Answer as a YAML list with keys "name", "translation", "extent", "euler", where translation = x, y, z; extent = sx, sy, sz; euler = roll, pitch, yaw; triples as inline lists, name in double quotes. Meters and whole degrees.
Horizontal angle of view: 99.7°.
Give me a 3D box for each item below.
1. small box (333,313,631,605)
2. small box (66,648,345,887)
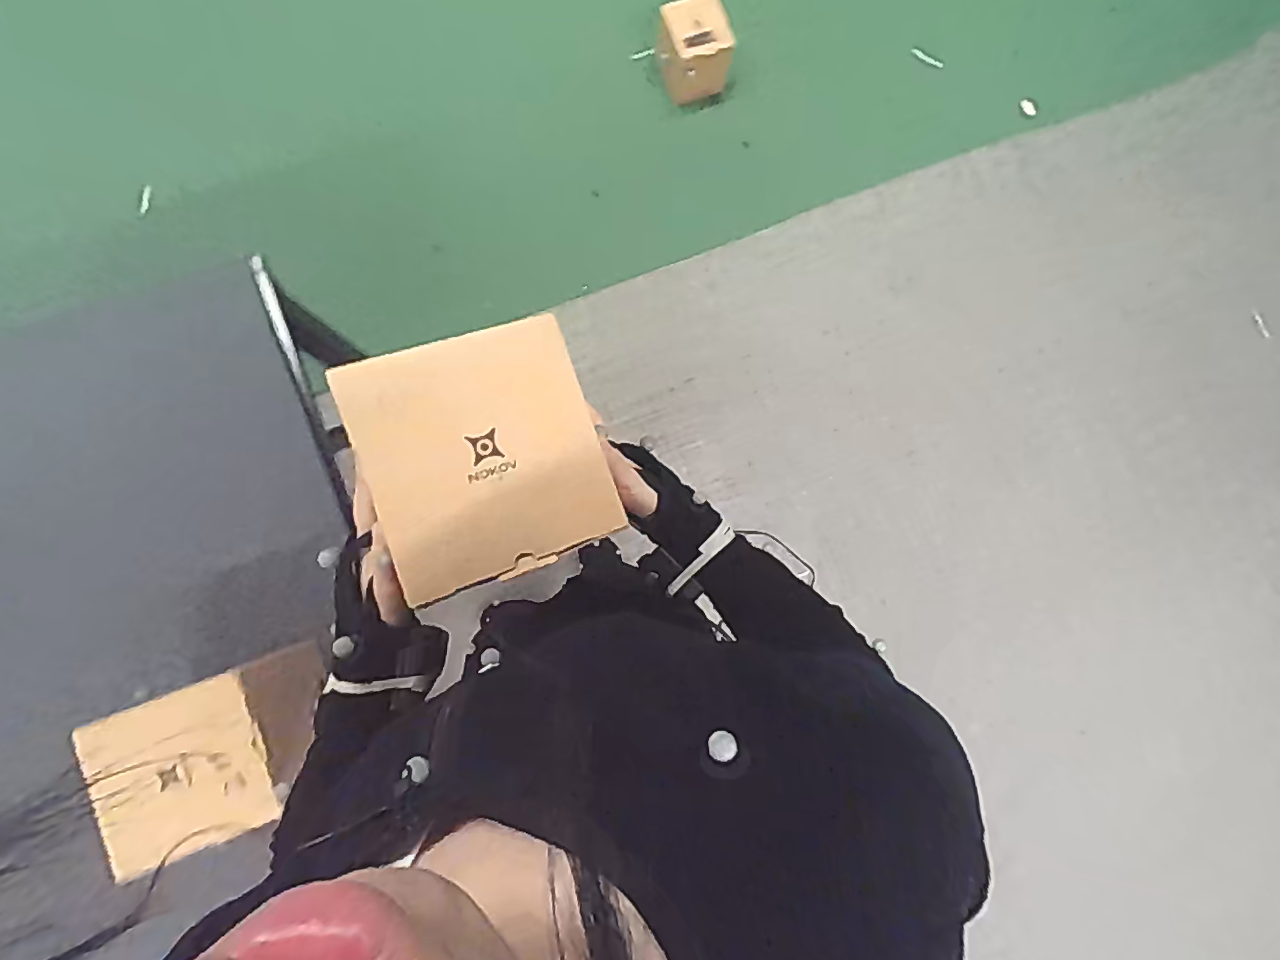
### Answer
- name: "small box"
  translation: [-0.128, -0.012, 0.460]
  extent: [0.168, 0.176, 0.179]
  euler: [-20, 90, -16]
- name: "small box"
  translation: [-0.497, 0.322, 0.646]
  extent: [0.179, 0.176, 0.168]
  euler: [-21, 87, -6]
